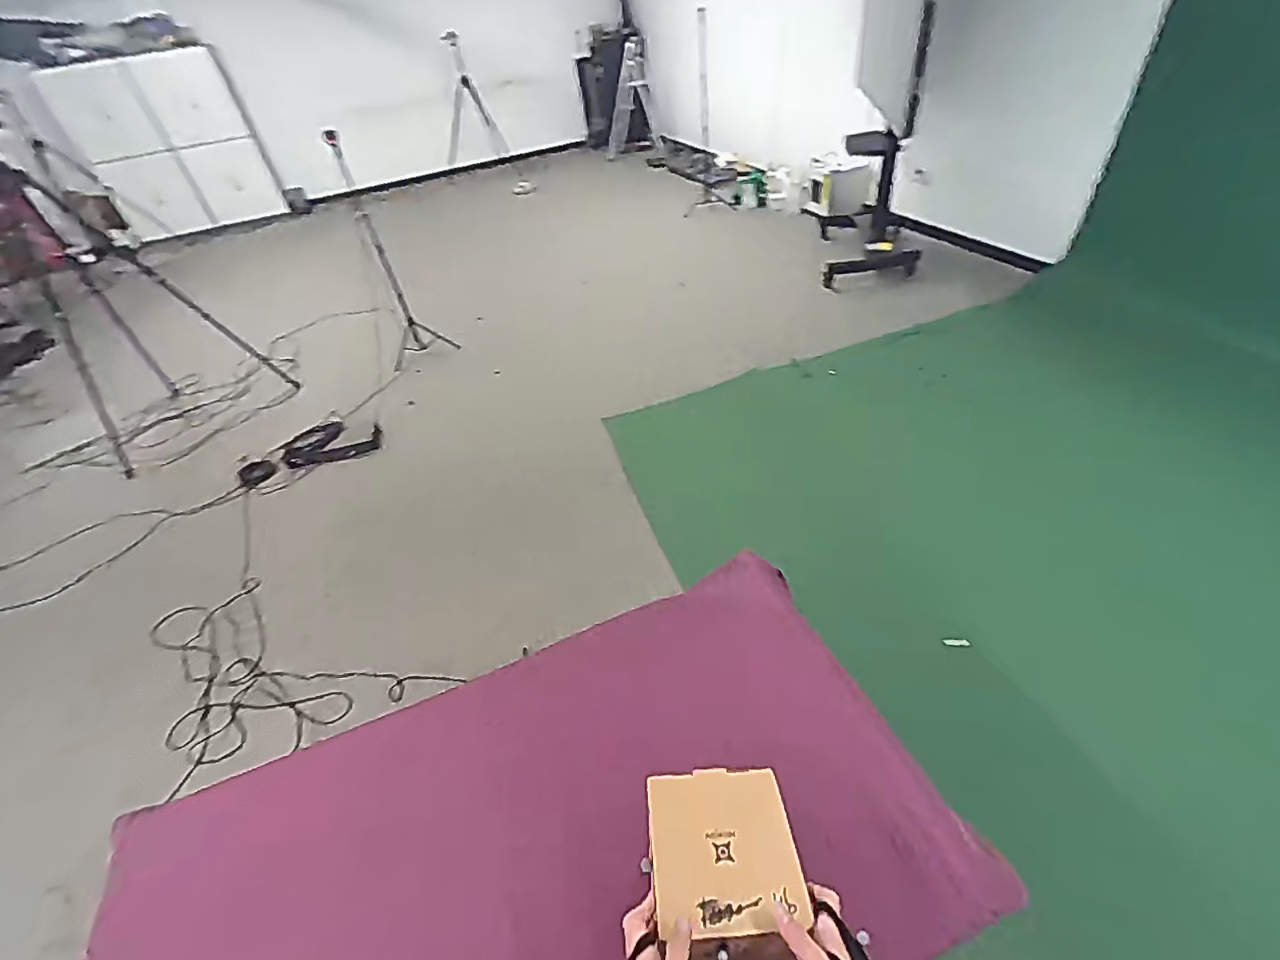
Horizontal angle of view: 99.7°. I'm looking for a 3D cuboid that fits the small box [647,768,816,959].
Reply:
[{"bbox_3d":[0.094,0.481,0.651,0.168,0.176,0.179,-2,31,-2],"label":"small box"}]
